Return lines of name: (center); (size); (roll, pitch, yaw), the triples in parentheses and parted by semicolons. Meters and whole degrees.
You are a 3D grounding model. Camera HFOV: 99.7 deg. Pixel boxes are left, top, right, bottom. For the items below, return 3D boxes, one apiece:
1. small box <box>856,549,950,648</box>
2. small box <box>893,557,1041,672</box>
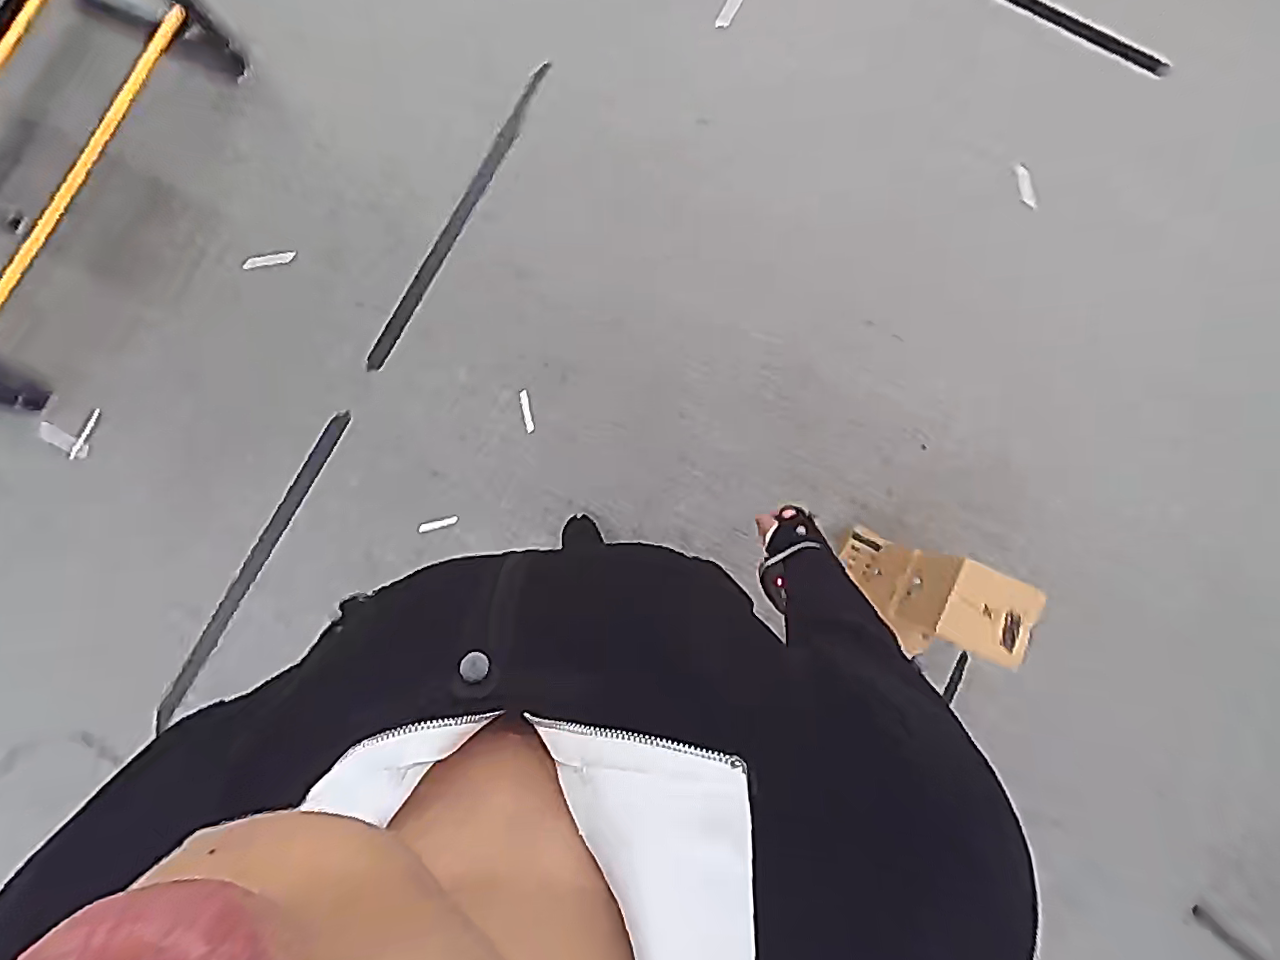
small box: (0.661, 0.275, 1.305); (0.179, 0.176, 0.168); (28, 87, 1)
small box: (0.678, 0.271, 1.141); (0.179, 0.176, 0.168); (26, 87, 1)
